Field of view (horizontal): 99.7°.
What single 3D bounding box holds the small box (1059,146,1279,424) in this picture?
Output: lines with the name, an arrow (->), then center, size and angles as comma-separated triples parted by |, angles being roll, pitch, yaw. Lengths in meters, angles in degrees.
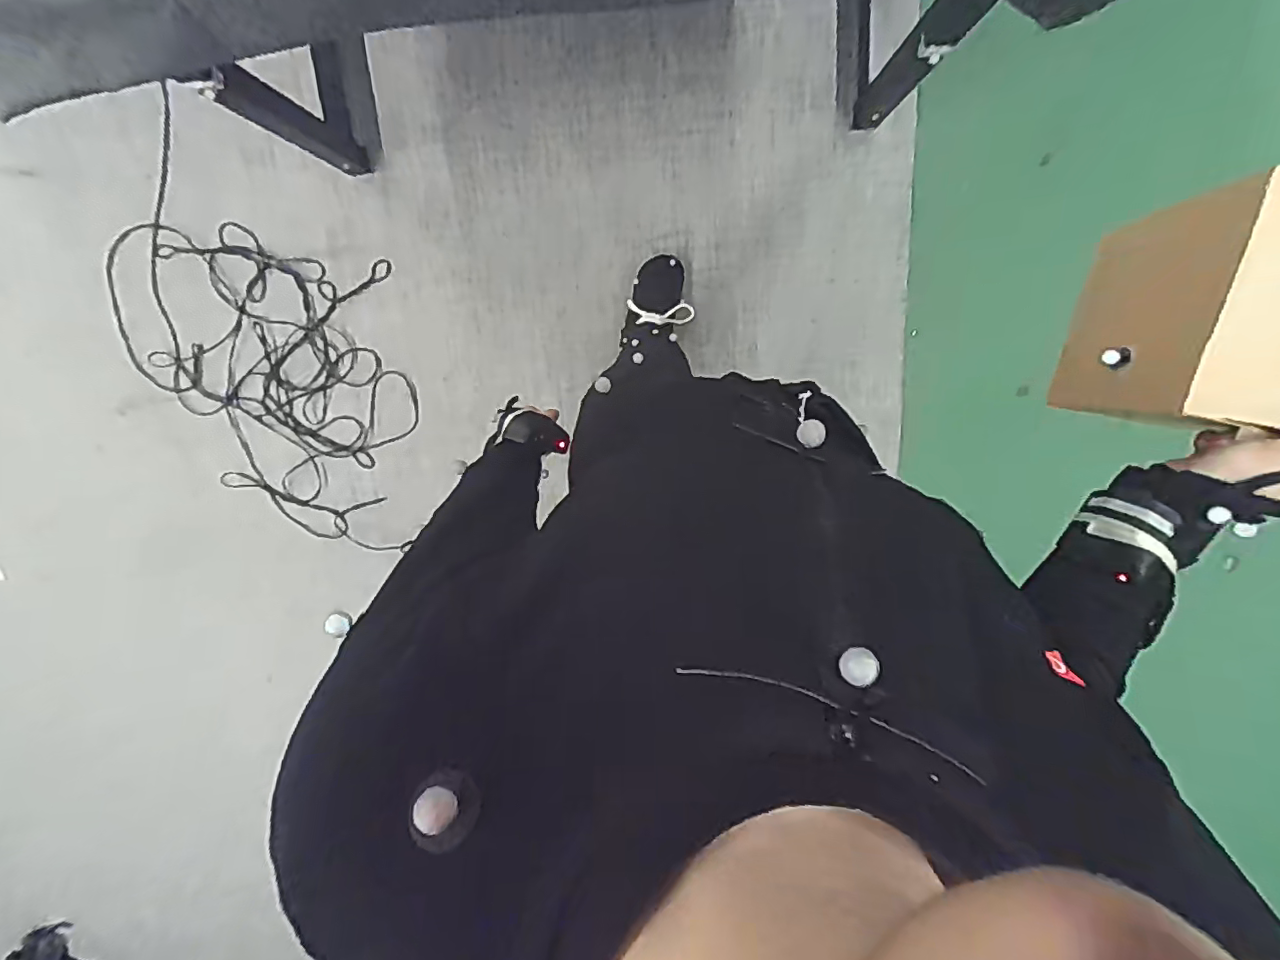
small box -> 0.502, -0.142, 0.452 | 0.168, 0.176, 0.179 | 10, 101, 4
